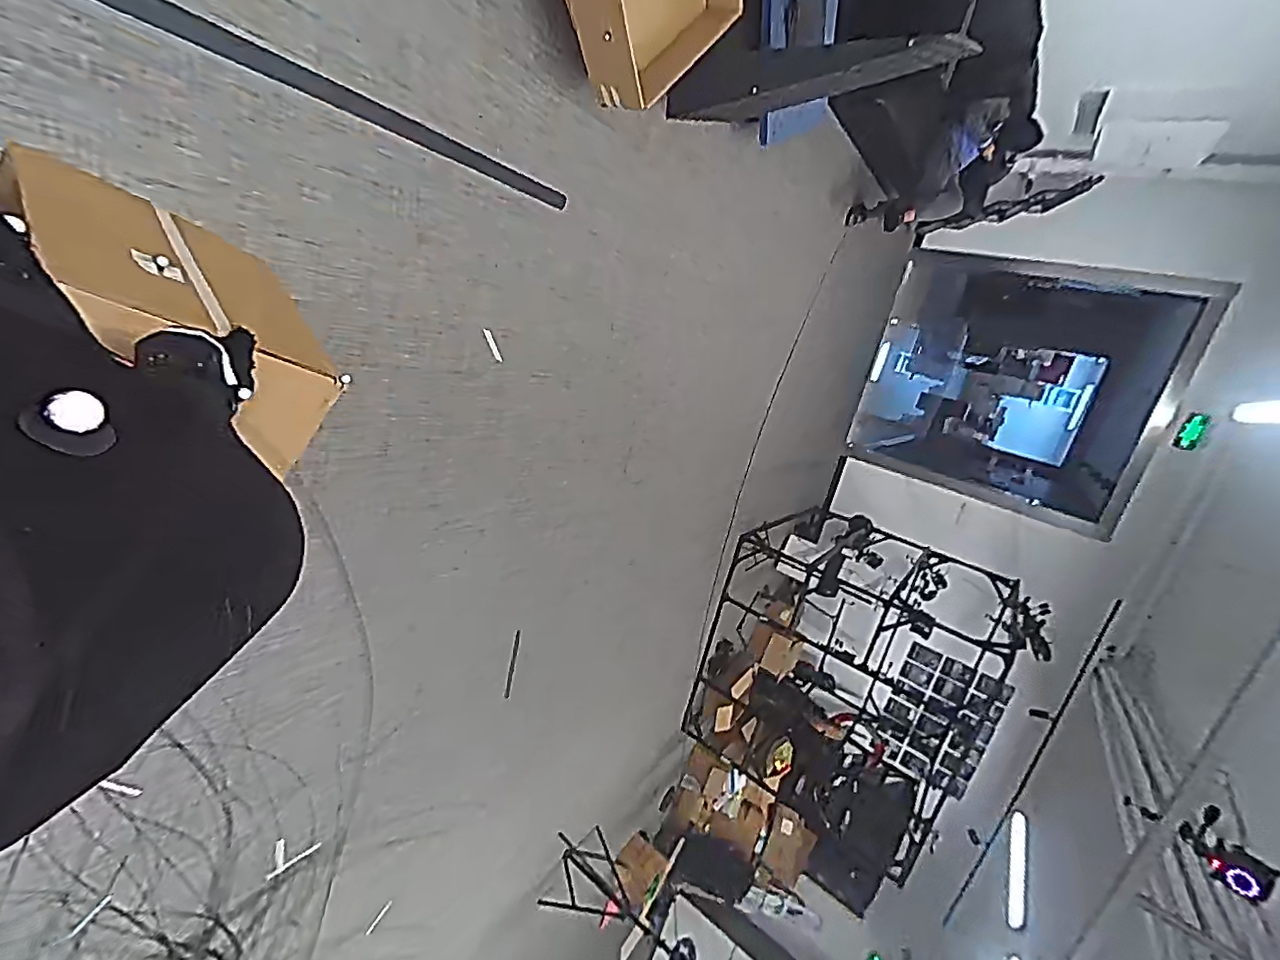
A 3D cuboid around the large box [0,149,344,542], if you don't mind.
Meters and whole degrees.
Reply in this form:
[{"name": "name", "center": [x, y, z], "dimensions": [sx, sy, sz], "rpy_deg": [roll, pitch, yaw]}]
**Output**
[{"name": "large box", "center": [-0.716, -0.166, 0.770], "dimensions": [0.320, 0.408, 0.320], "rpy_deg": [-50, 152, 12]}]
